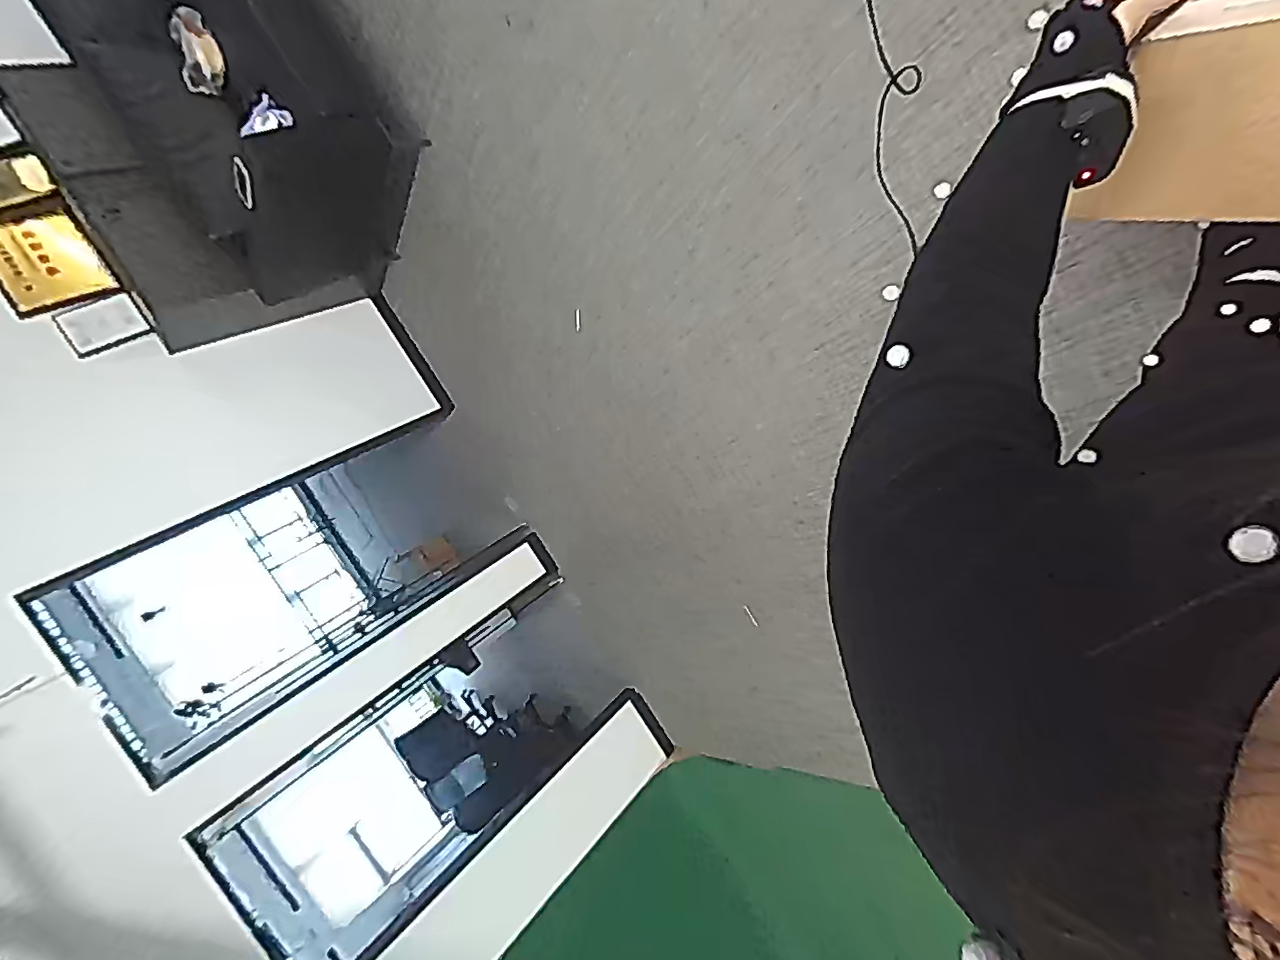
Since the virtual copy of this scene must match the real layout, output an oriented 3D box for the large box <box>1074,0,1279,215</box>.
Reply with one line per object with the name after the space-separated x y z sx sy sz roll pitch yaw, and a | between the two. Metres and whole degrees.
0.654 -0.418 0.417 0.408 0.320 0.320 24 141 40 | large box
